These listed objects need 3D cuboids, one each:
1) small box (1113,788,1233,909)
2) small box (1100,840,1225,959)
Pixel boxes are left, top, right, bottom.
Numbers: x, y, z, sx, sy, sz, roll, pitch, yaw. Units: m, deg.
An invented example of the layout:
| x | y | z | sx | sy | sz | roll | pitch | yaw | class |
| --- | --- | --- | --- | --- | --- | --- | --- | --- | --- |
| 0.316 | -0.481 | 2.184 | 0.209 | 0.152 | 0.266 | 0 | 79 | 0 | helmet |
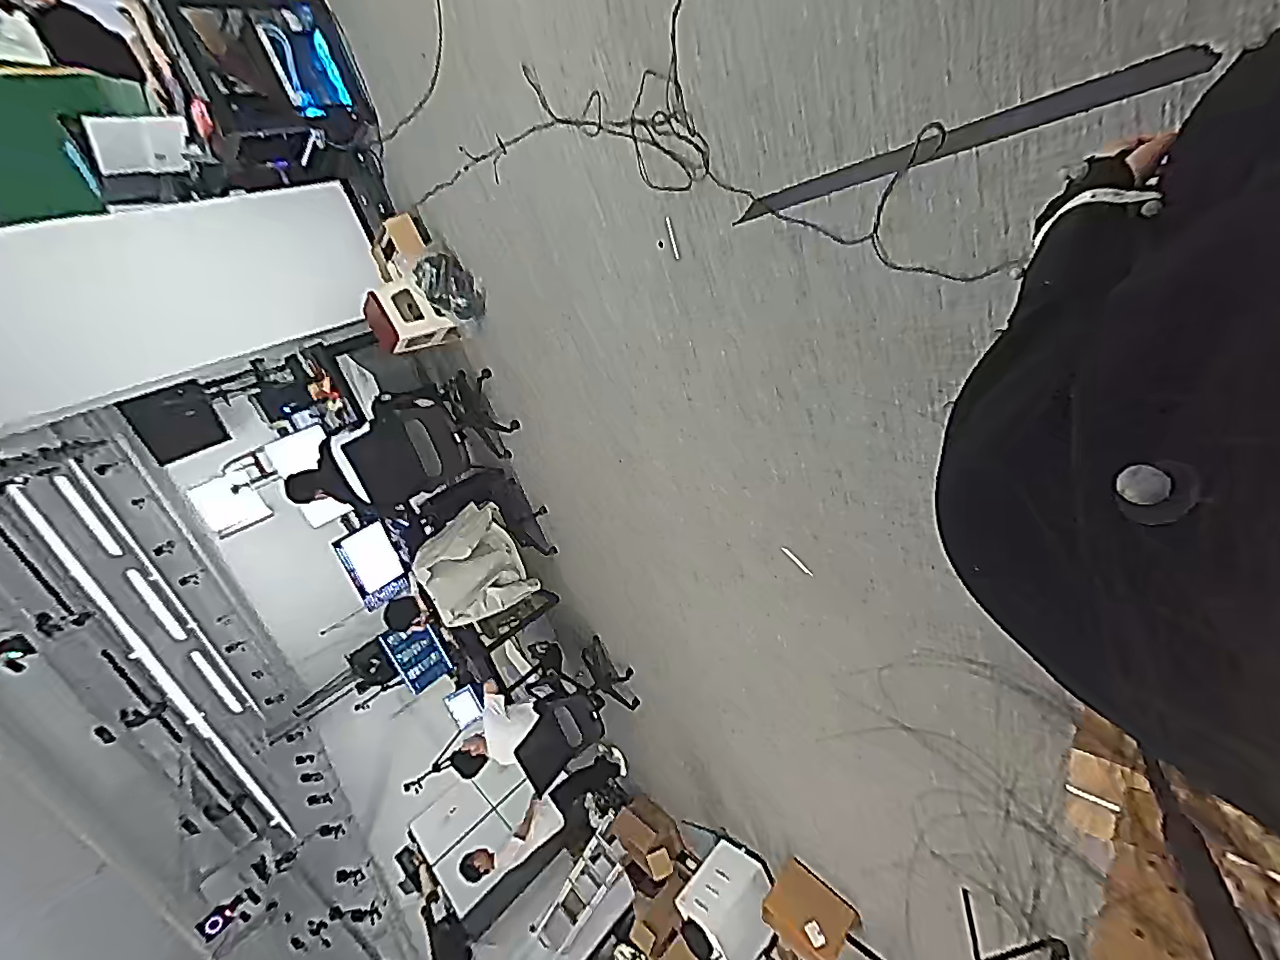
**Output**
| x | y | z | sx | sy | sz | roll | pitch | yaw | class |
| --- | --- | --- | --- | --- | --- | --- | --- | --- | --- |
| 1.196 | 0.842 | 1.216 | 0.179 | 0.176 | 0.168 | 7 | 122 | 51 | small box |
| 1.082 | 0.909 | 1.122 | 0.168 | 0.176 | 0.179 | 8 | 122 | 49 | small box |
